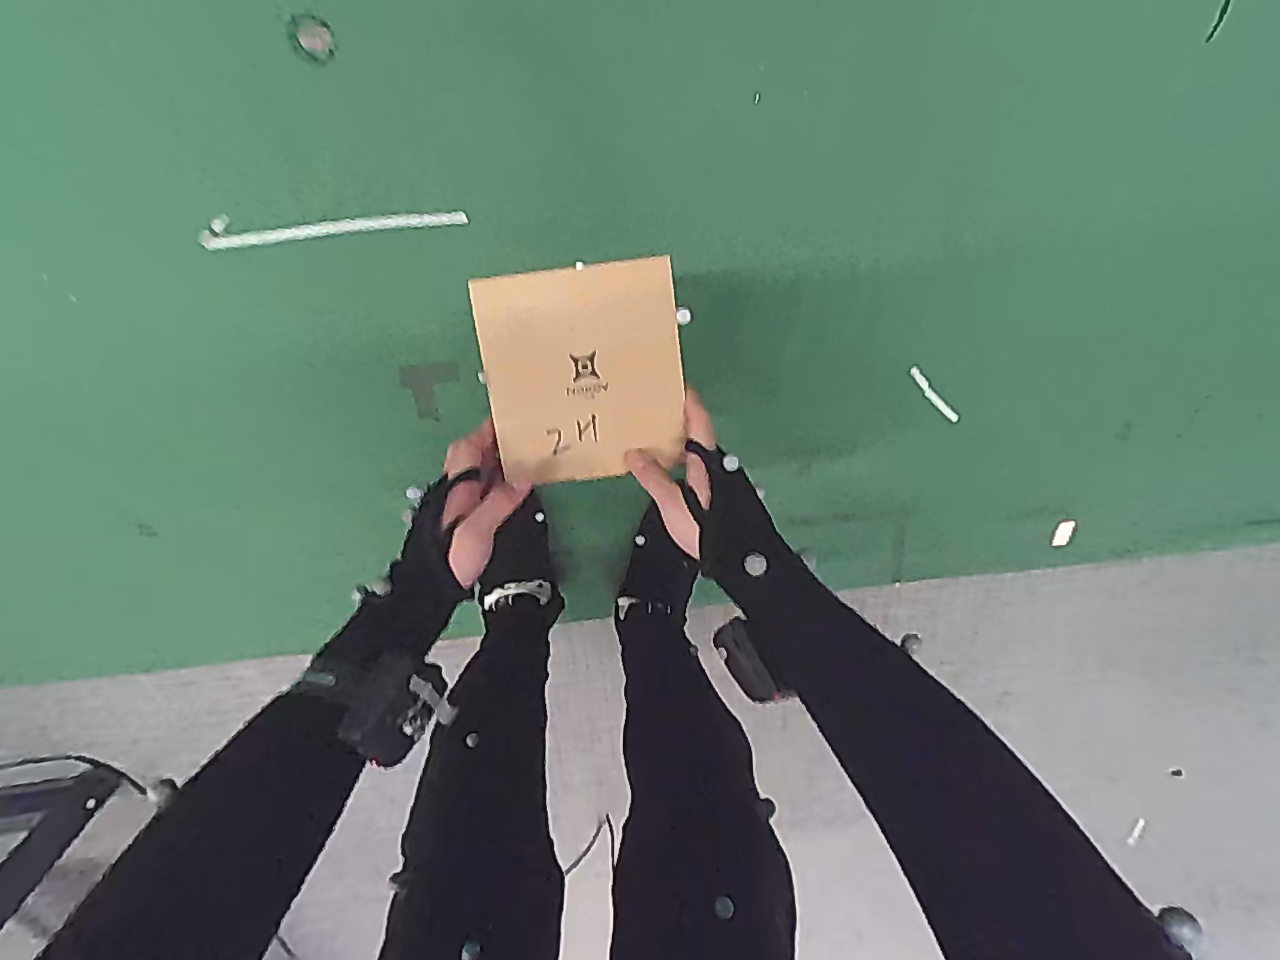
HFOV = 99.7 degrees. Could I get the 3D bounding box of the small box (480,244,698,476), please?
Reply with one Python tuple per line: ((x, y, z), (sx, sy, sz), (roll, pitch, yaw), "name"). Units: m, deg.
((-0.044, -0.112, 0.525), (0.168, 0.176, 0.179), (-7, 103, -2), "small box")
